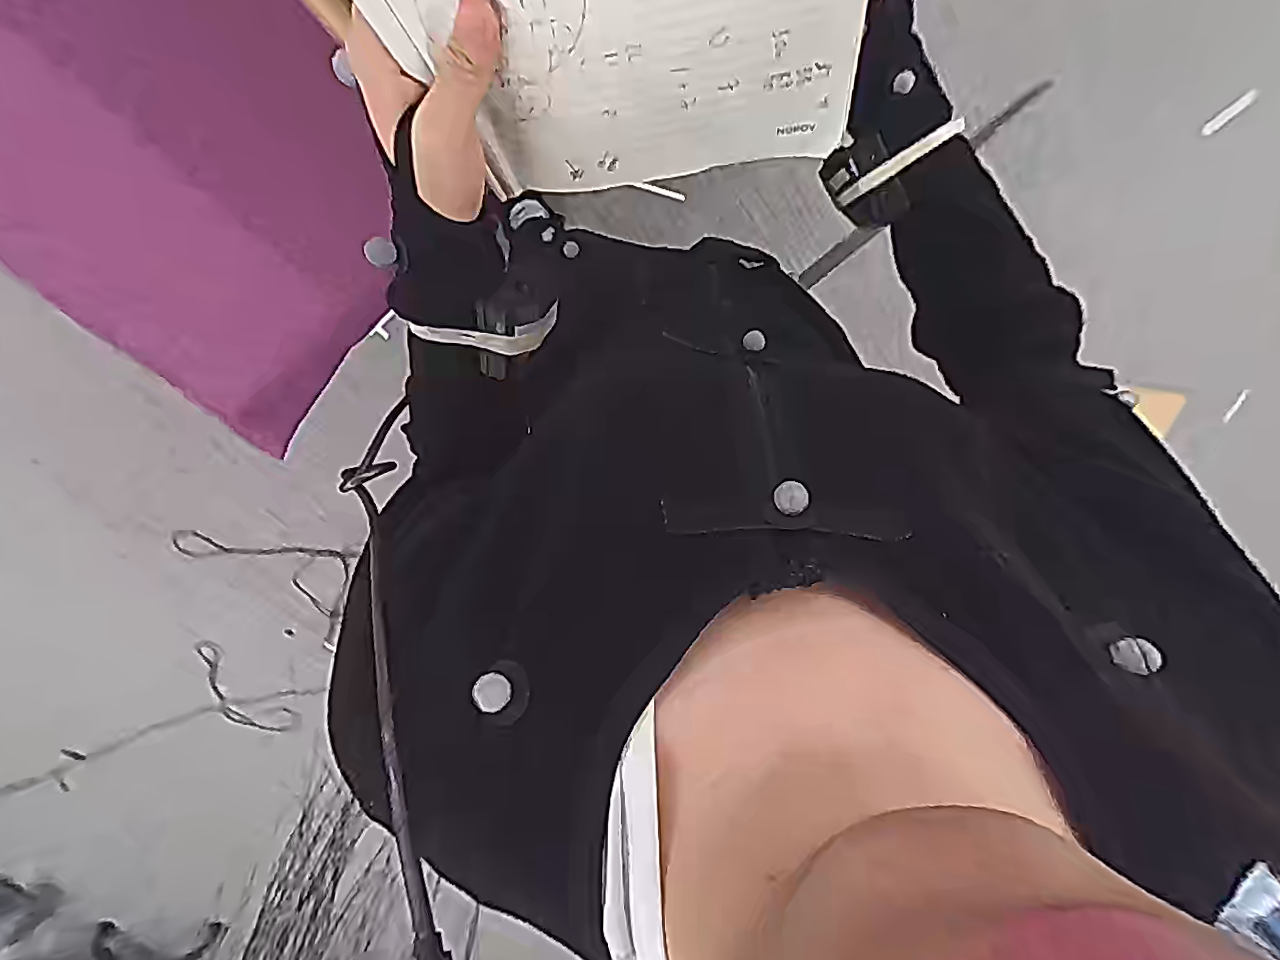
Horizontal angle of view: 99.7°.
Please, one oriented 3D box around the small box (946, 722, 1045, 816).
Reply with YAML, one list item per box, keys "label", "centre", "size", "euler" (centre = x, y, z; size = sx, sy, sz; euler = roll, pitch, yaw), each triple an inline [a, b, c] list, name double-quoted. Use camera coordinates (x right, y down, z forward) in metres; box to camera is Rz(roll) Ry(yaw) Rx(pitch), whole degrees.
- label: "small box"
  centre: [1.074, 0.871, 1.647]
  size: [0.168, 0.176, 0.179]
  euler: [-36, 117, 9]
